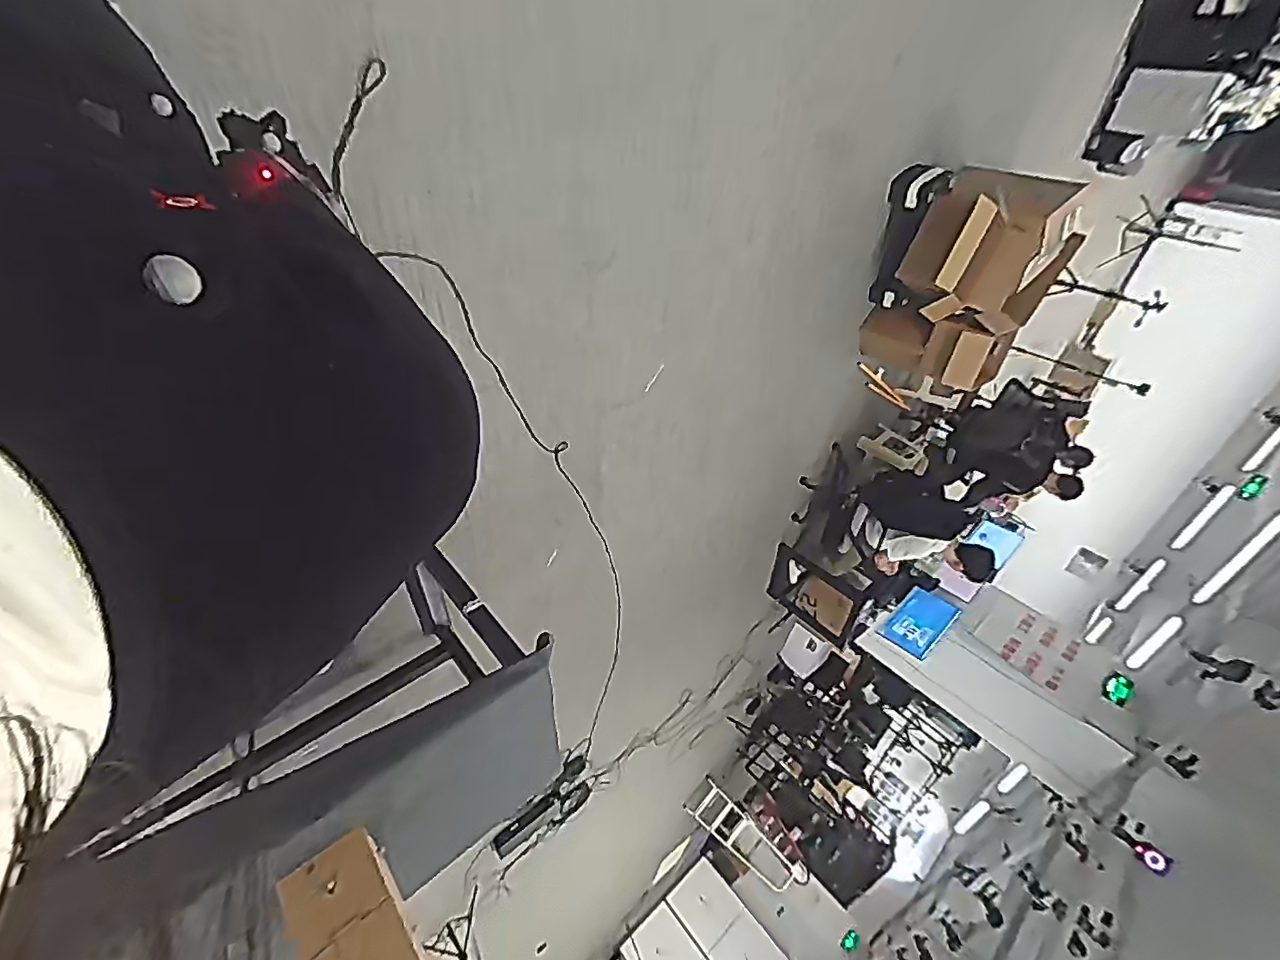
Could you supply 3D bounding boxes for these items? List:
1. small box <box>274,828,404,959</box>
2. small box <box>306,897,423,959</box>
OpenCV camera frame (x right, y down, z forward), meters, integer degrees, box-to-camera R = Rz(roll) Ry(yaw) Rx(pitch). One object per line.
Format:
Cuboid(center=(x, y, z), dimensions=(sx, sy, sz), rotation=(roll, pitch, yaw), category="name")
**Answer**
Cuboid(center=(-0.611, 0.858, 1.103), dimensions=(0.168, 0.176, 0.179), rotation=(-27, 138, -33), category="small box")
Cuboid(center=(-0.506, 0.935, 1.003), dimensions=(0.179, 0.176, 0.168), rotation=(-28, 139, -30), category="small box")
